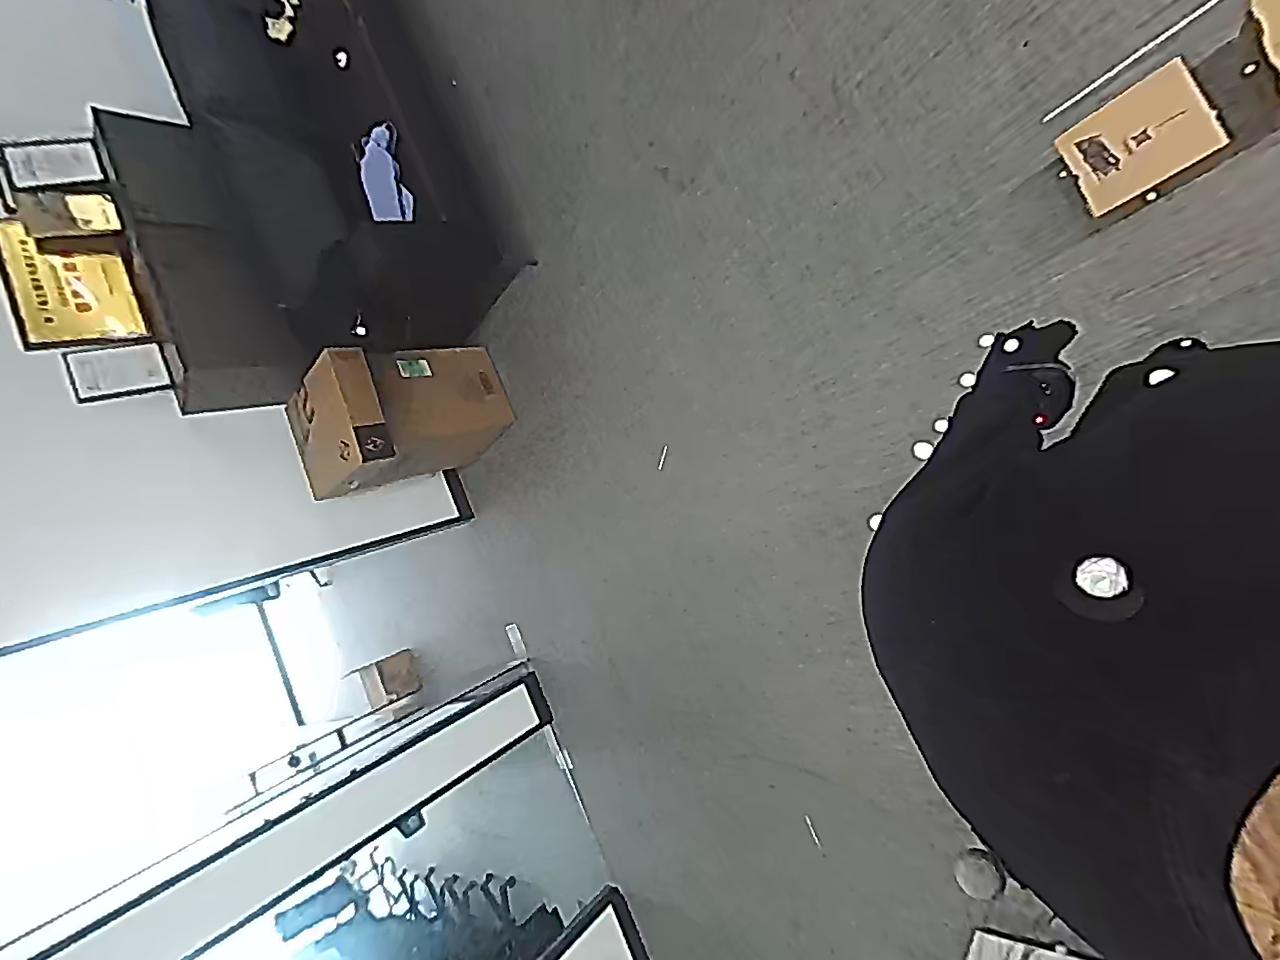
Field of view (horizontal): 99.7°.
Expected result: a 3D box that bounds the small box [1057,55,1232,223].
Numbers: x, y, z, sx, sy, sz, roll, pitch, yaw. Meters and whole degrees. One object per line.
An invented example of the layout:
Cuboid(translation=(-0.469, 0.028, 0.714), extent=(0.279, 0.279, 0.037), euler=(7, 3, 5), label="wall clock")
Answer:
Cuboid(translation=(0.890, -0.587, 0.961), extent=(0.179, 0.176, 0.168), euler=(-29, 82, 44), label="small box")

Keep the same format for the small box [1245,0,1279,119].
Cuboid(translation=(1.041, -0.674, 0.788), extent=(0.179, 0.176, 0.168), euler=(-22, 87, 47), label="small box")
